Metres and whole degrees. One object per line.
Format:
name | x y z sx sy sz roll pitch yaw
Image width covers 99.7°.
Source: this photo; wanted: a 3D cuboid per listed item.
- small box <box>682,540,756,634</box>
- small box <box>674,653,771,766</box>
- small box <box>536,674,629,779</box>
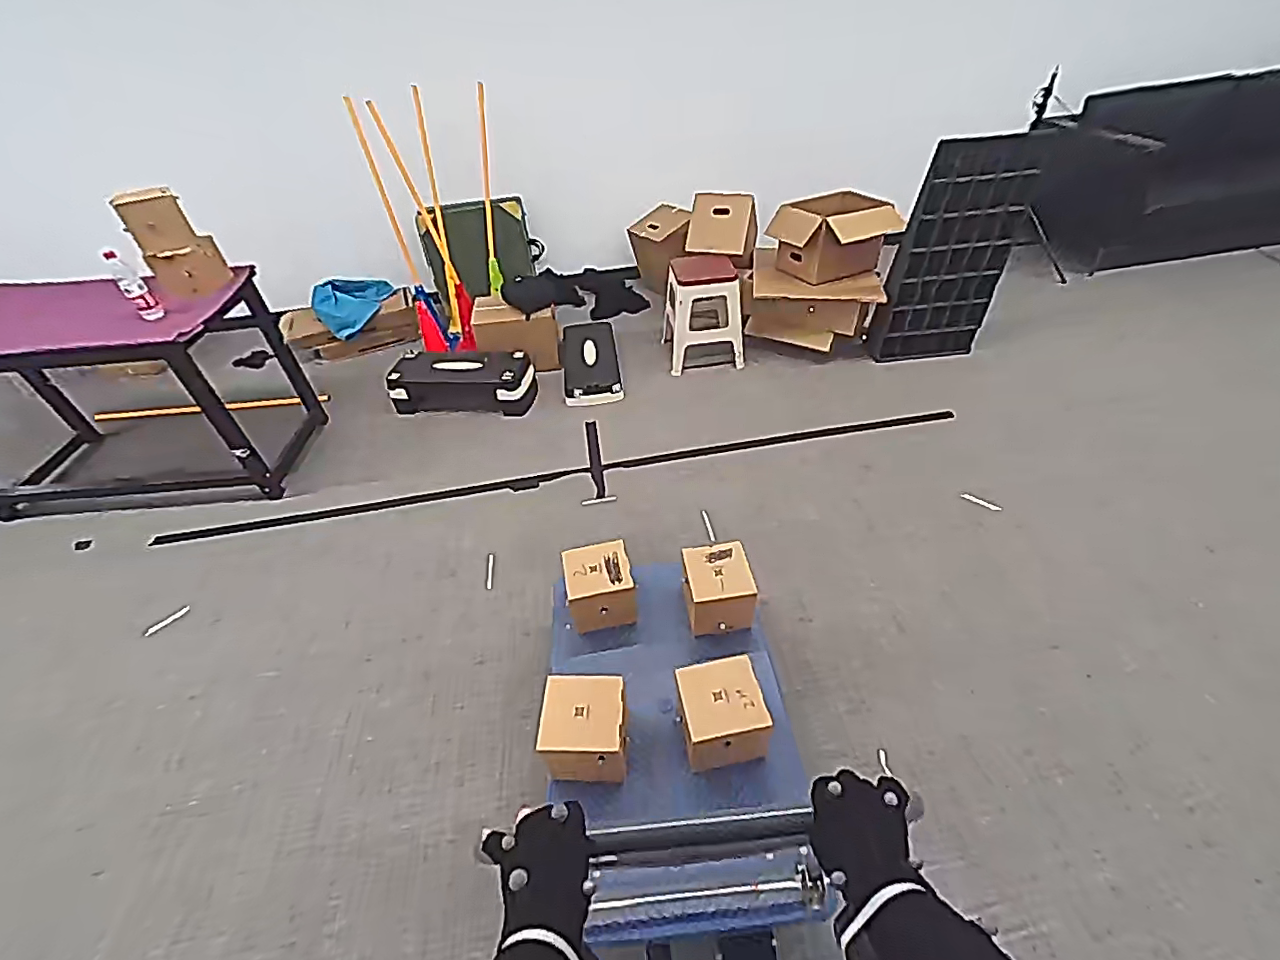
small box | 0.207 0.290 1.469 0.168 0.176 0.179 -8 44 -3
small box | 0.181 0.522 1.222 0.179 0.176 0.168 -10 43 -5
small box | -0.121 0.555 1.216 0.179 0.176 0.168 -1 43 3
